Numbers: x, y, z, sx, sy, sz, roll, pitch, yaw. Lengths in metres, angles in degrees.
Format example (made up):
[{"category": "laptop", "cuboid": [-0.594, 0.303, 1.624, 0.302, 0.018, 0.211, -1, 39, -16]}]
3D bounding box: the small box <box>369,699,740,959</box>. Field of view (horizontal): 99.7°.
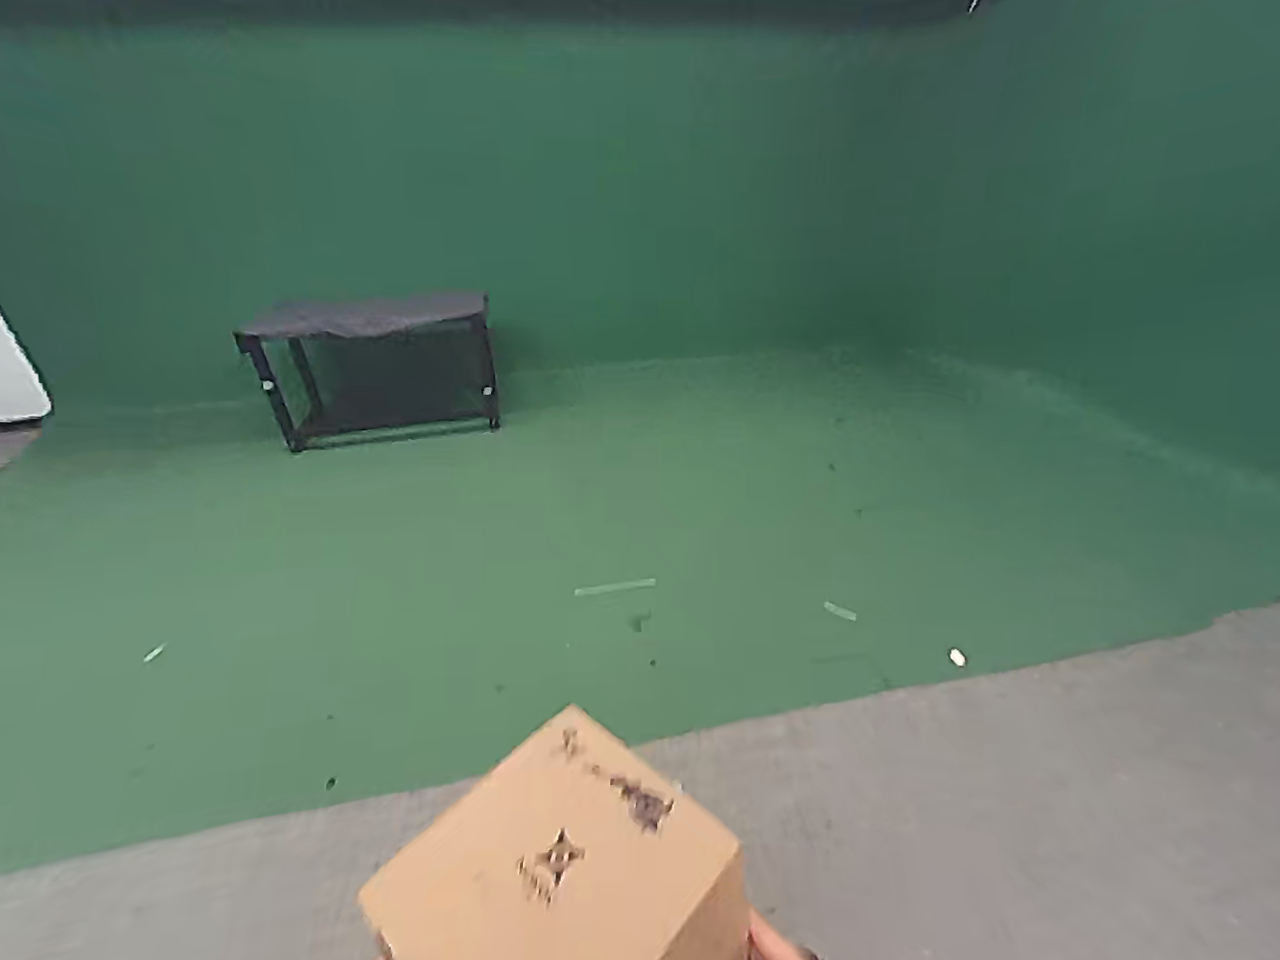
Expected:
[{"category": "small box", "cuboid": [-0.043, 0.302, 0.371, 0.168, 0.176, 0.179, 19, 38, 41]}]
